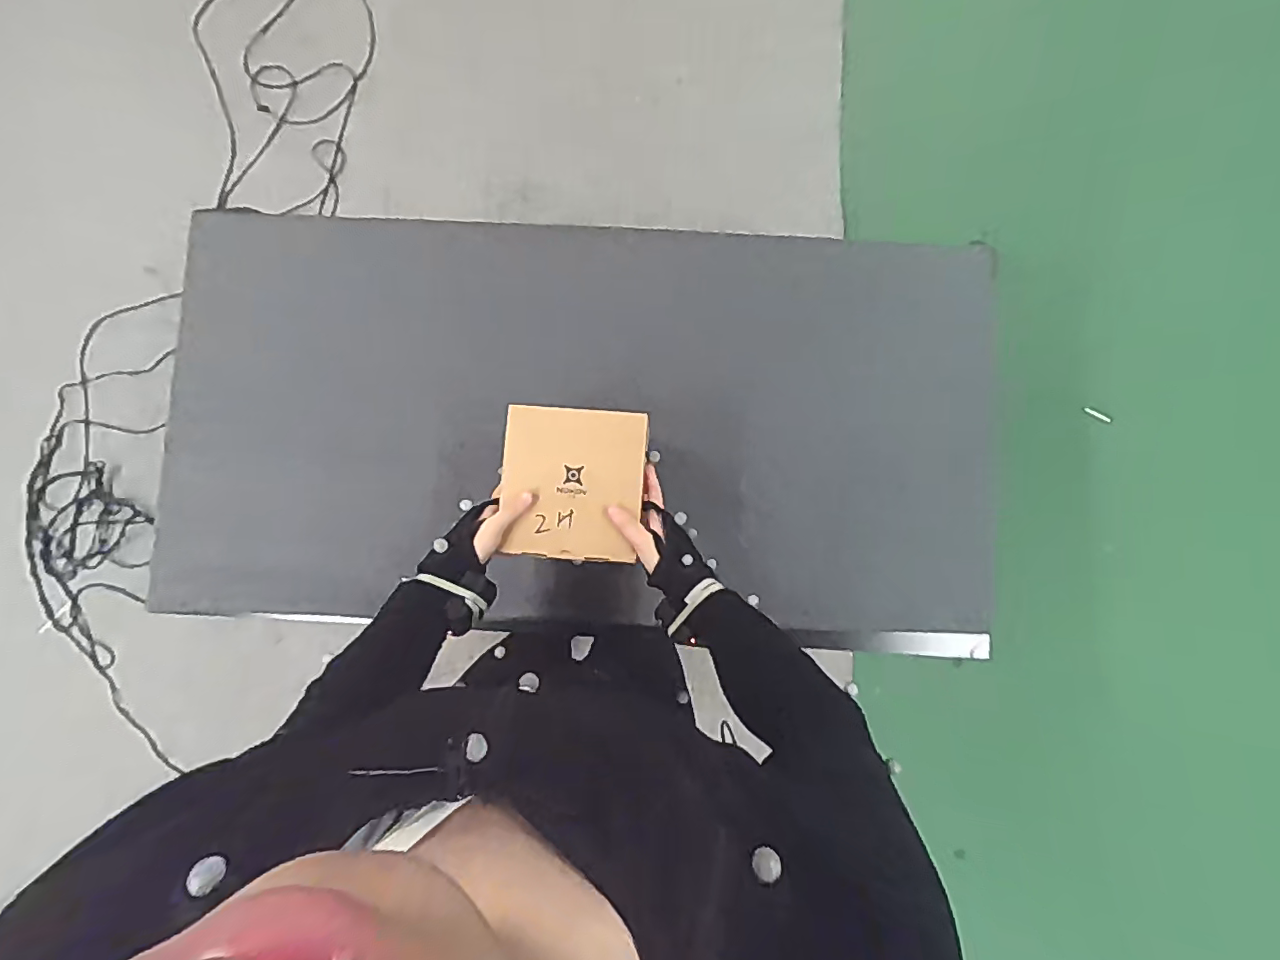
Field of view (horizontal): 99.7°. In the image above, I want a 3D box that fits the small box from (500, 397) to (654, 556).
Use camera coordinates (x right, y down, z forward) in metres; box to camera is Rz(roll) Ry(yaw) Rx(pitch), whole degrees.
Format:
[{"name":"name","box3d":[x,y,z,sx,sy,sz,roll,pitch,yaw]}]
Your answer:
[{"name":"small box","box3d":[-0.071,0.001,0.699,0.168,0.176,0.179,4,86,2]}]
